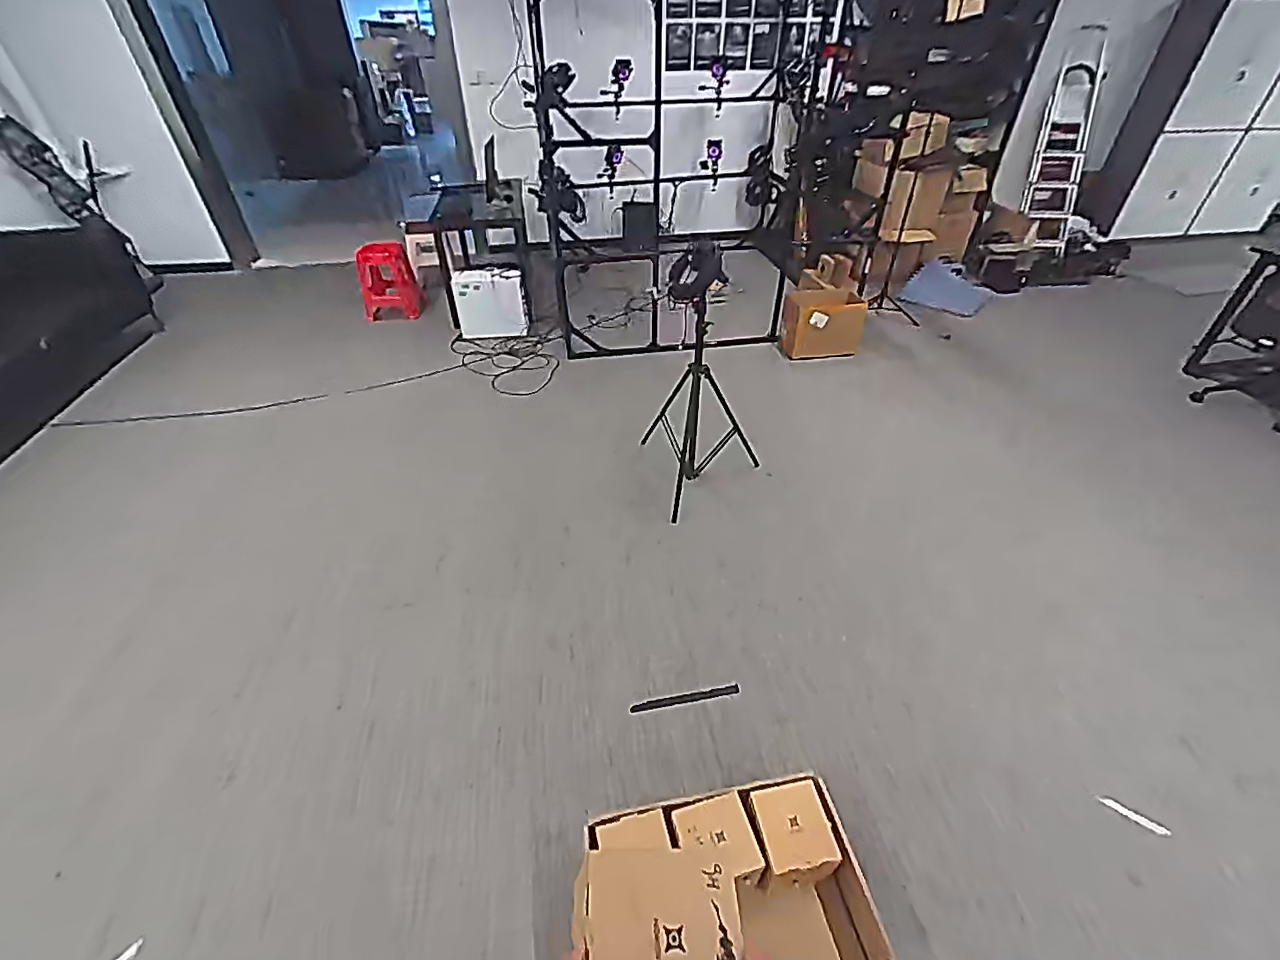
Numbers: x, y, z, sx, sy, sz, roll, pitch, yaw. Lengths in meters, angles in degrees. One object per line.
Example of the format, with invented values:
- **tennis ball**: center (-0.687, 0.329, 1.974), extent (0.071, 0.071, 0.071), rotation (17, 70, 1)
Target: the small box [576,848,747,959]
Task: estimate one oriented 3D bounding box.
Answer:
- **small box**: center (0.016, 0.547, 0.626), extent (0.179, 0.176, 0.168), rotation (5, 41, -8)
